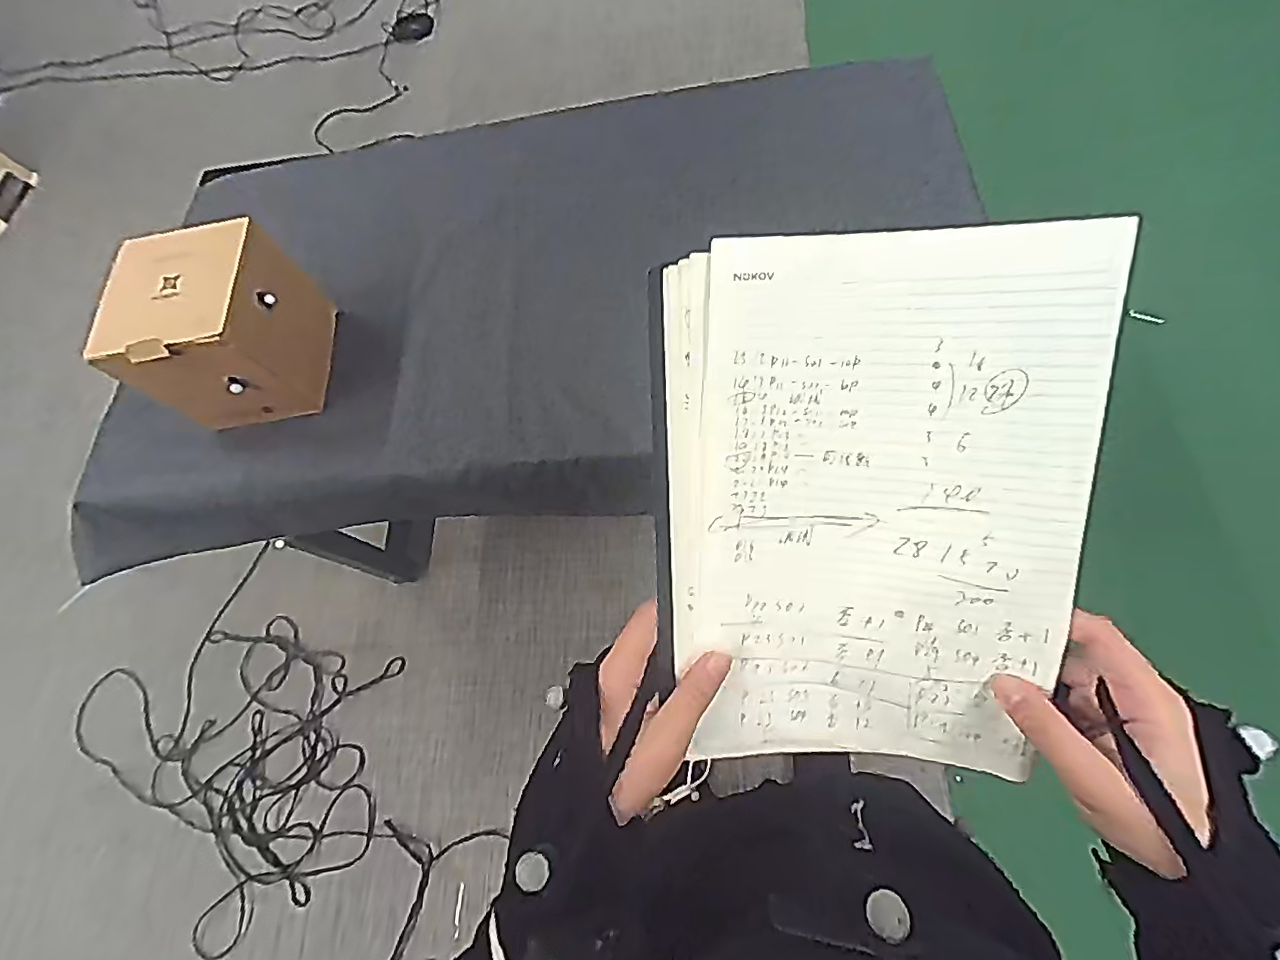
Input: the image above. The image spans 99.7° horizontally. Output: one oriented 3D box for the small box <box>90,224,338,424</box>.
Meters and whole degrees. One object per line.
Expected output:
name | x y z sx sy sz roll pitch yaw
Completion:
small box | -0.517 -0.184 0.688 0.168 0.176 0.179 -8 66 4
